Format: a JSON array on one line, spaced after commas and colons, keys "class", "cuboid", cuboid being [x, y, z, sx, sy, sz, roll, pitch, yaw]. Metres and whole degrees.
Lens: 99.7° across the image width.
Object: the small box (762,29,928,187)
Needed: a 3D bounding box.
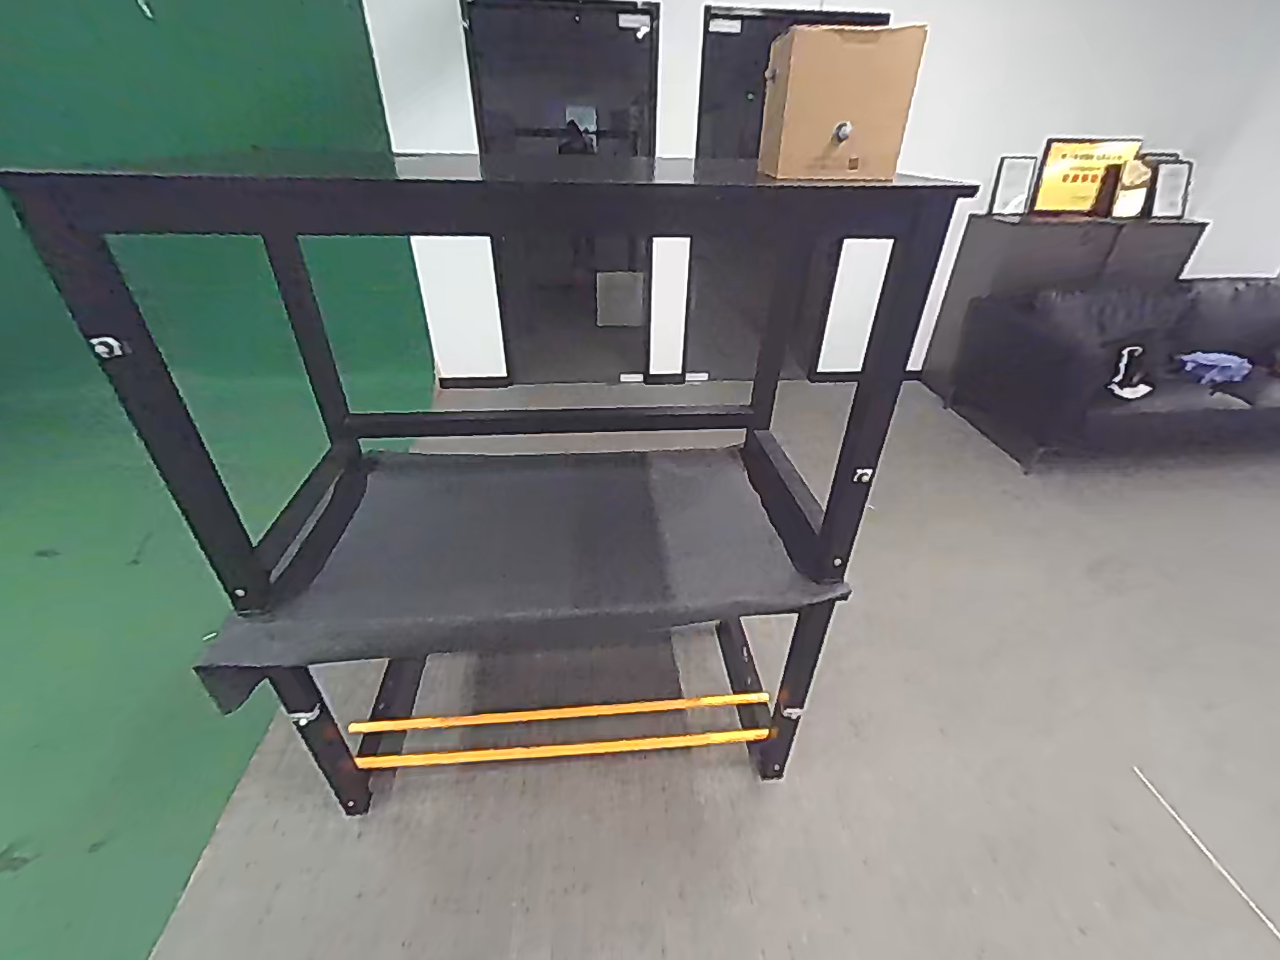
[{"class": "small box", "cuboid": [0.278, -0.529, 0.782, 0.168, 0.176, 0.179, 2, 33, 2]}]
